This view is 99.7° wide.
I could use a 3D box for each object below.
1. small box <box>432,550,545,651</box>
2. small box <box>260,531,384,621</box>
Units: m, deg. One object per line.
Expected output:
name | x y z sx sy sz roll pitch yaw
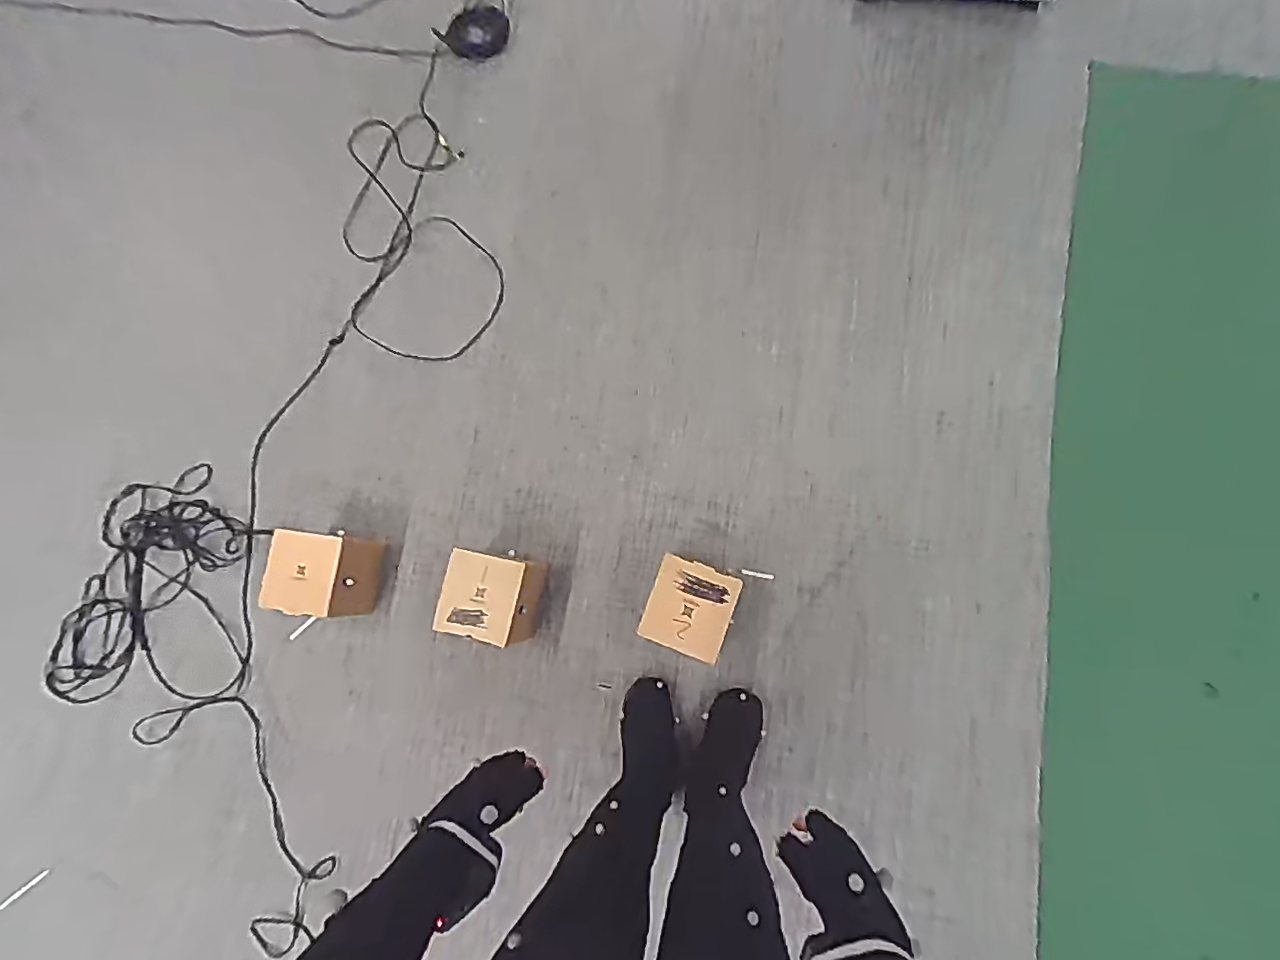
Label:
small box | -0.324 0.262 1.195 0.168 0.176 0.179 11 81 9
small box | -0.722 0.221 1.248 0.168 0.176 0.179 6 81 8
